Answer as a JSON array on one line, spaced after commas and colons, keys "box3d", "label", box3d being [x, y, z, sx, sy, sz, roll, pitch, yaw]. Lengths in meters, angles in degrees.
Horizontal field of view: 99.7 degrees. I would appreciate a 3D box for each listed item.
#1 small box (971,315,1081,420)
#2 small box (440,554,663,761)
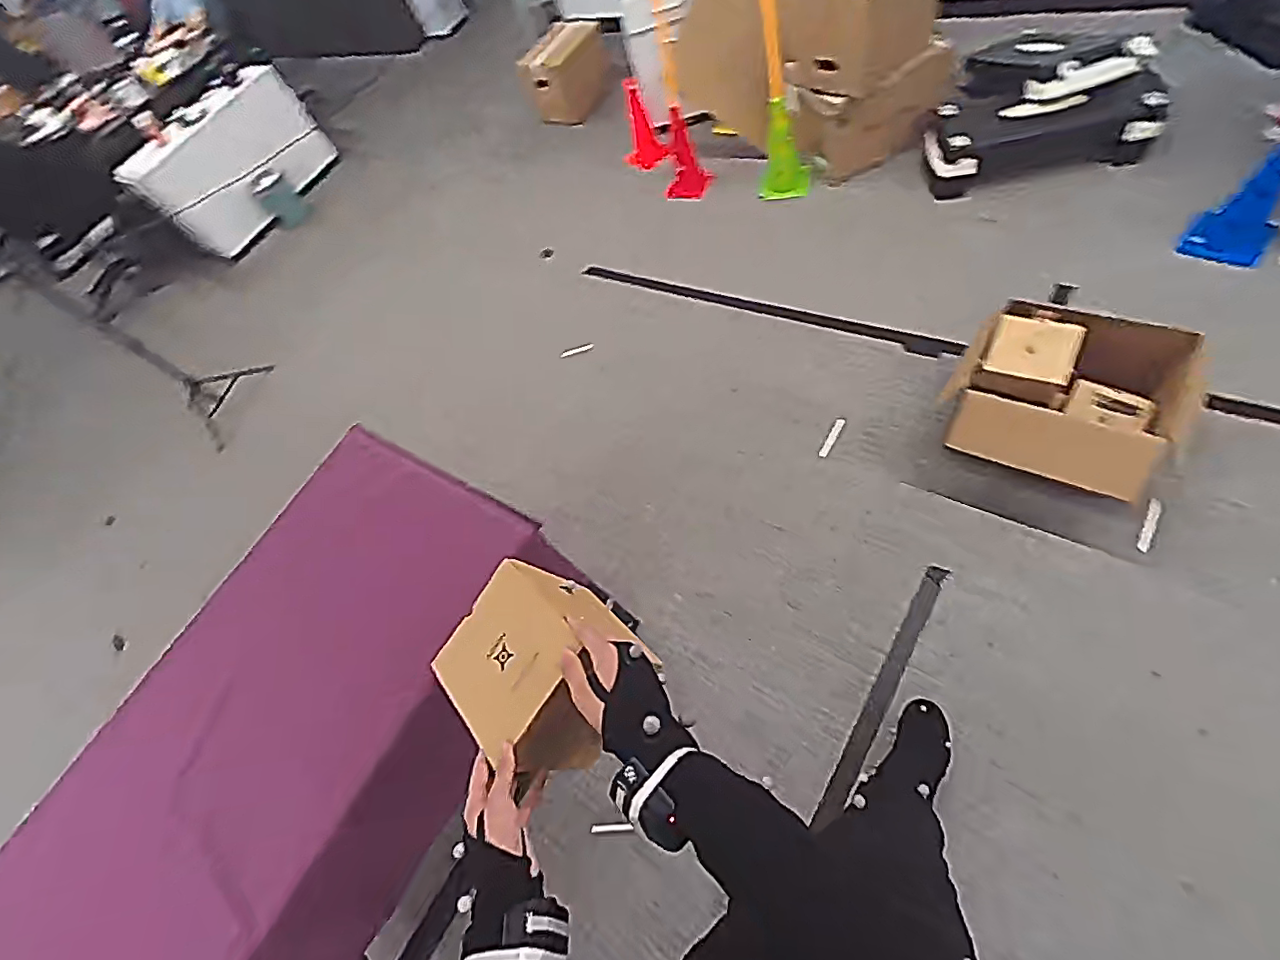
[{"box3d": [0.956, -0.277, 1.357, 0.168, 0.176, 0.179, 23, 72, 27], "label": "small box"}, {"box3d": [-0.107, 0.226, 0.676, 0.179, 0.176, 0.168, 36, 90, 41], "label": "small box"}]
